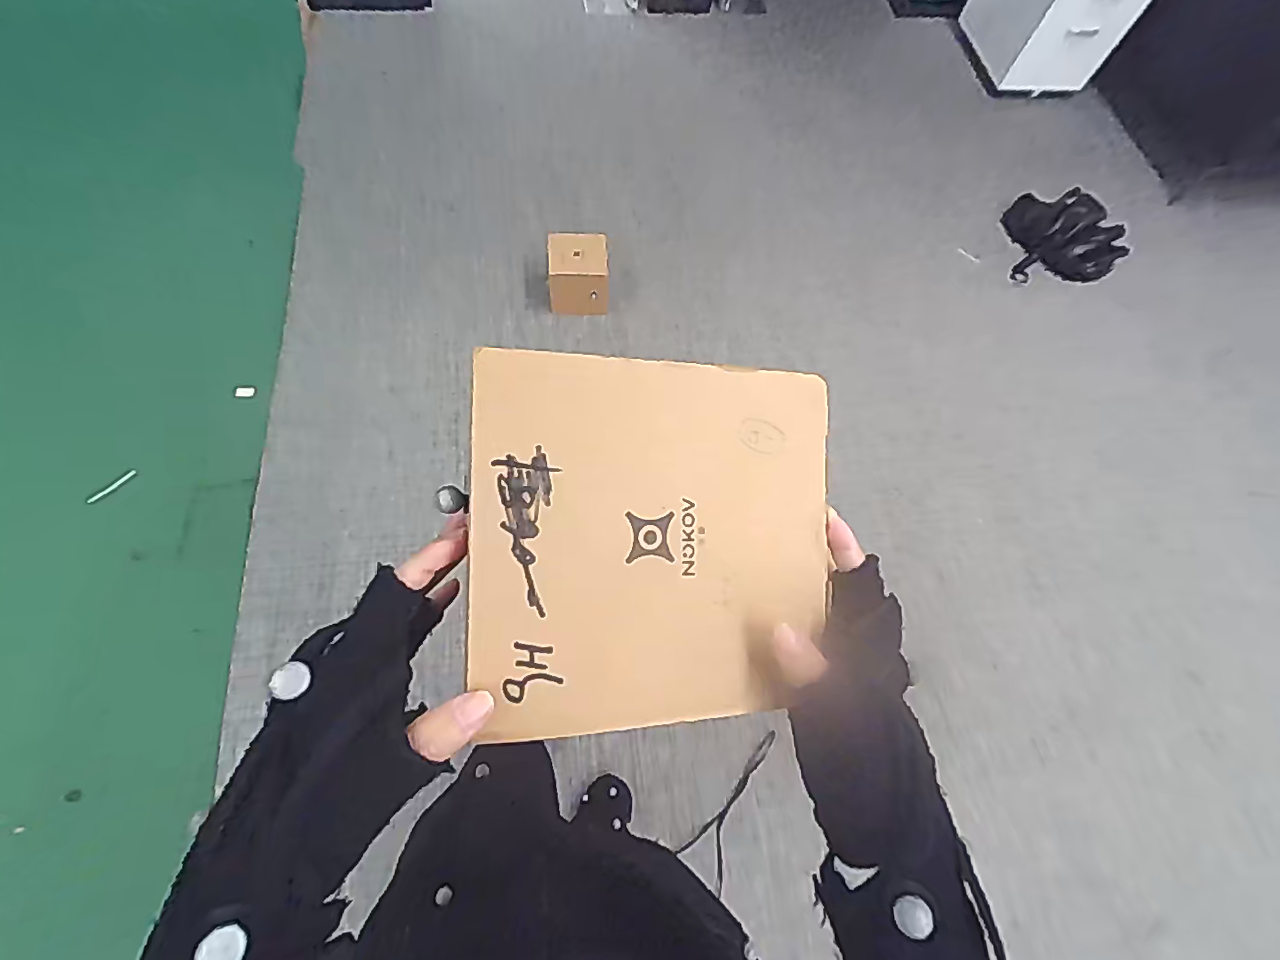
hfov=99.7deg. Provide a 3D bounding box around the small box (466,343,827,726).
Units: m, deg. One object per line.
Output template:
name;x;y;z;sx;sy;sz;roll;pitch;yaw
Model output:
small box;-0.010;0.030;0.331;0.179;0.176;0.168;2;85;-18

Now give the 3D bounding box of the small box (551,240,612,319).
small box;-0.181;-0.615;1.674;0.179;0.176;0.168;-3;65;-5
